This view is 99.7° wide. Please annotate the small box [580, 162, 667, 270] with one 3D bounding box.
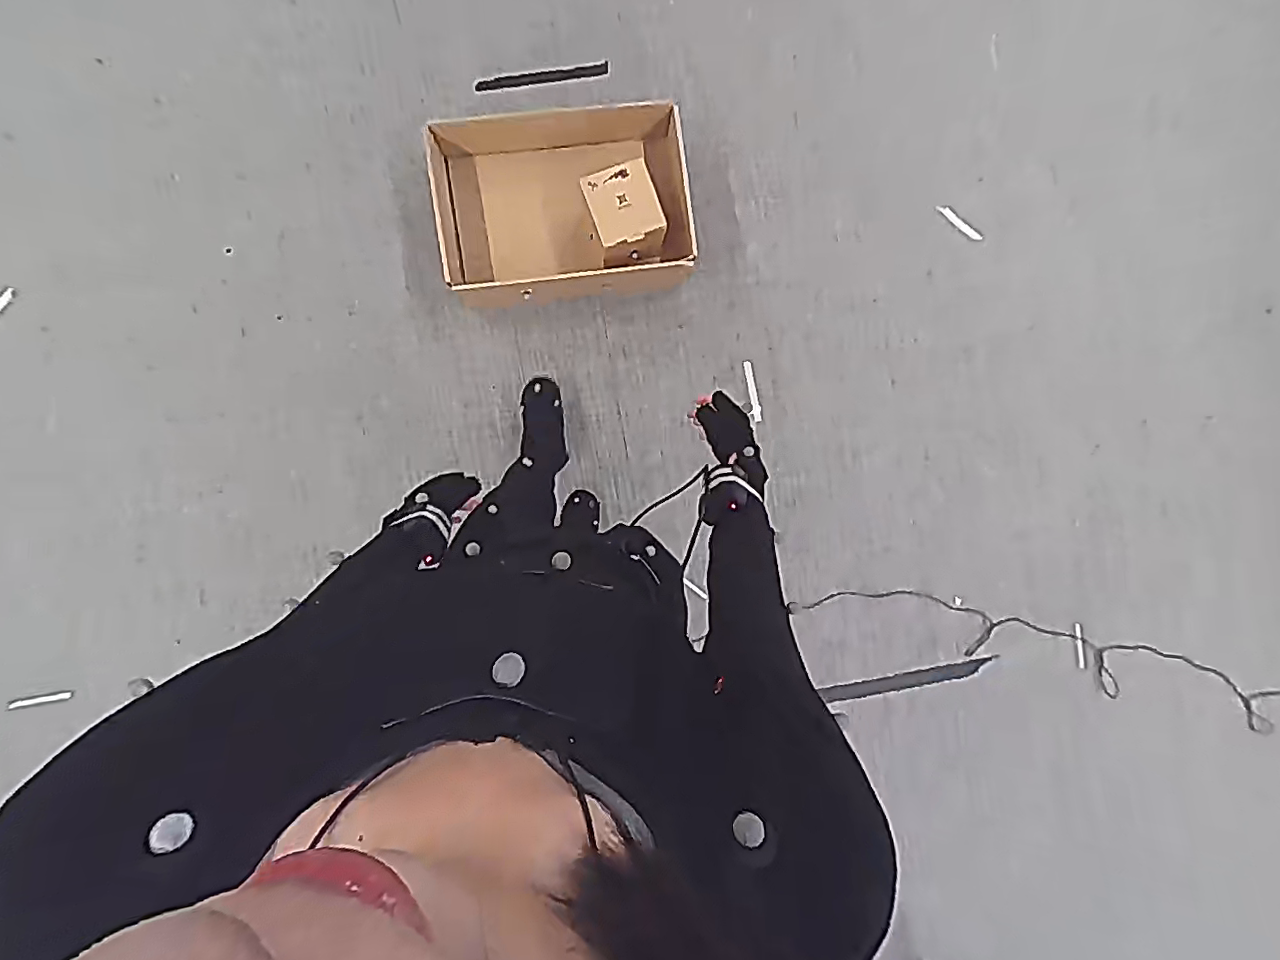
[{"bbox_3d":[-0.042,-0.652,1.364,0.168,0.176,0.179,-21,93,-4],"label":"small box"}]
